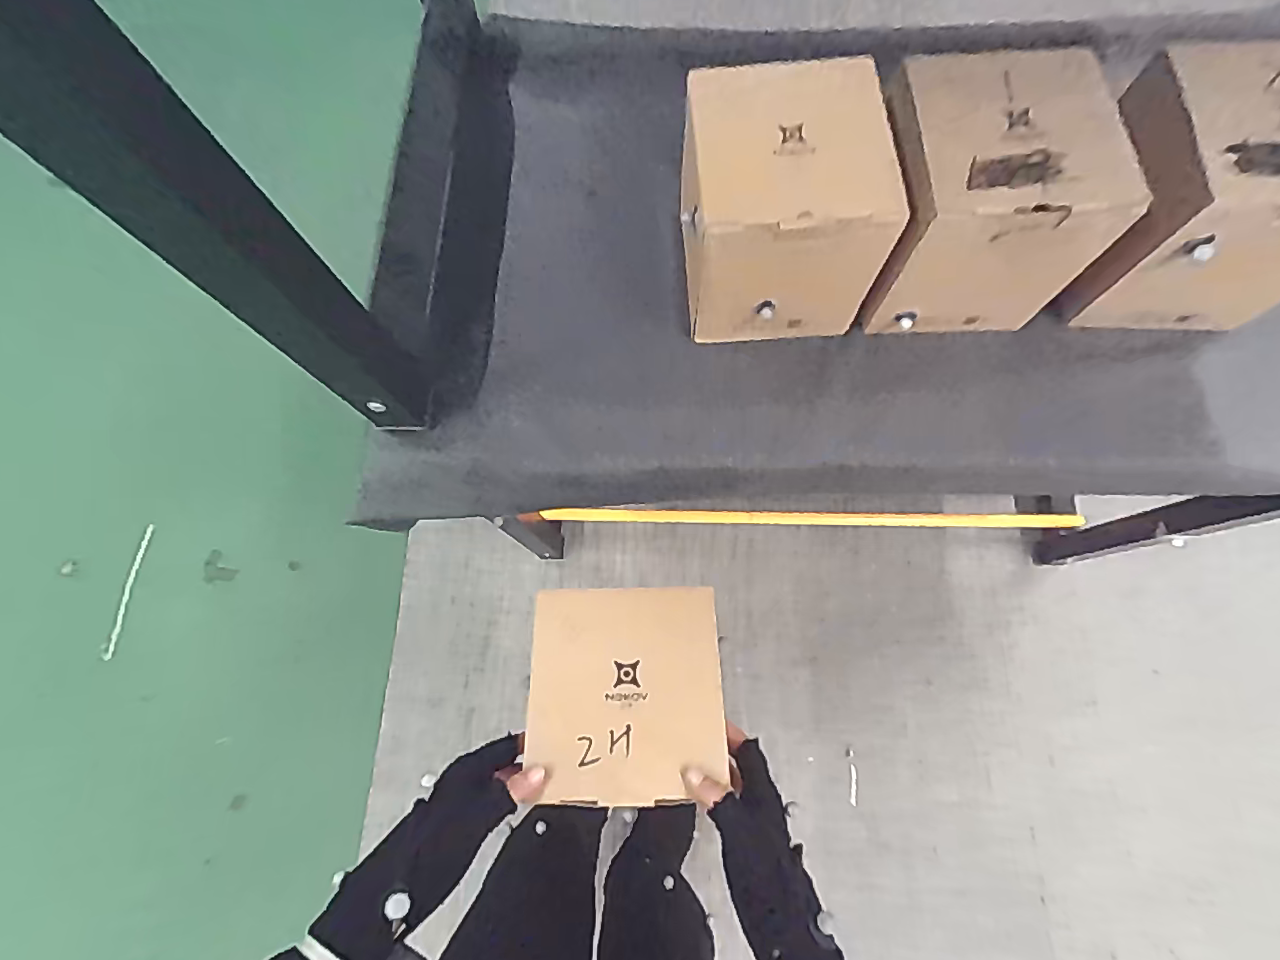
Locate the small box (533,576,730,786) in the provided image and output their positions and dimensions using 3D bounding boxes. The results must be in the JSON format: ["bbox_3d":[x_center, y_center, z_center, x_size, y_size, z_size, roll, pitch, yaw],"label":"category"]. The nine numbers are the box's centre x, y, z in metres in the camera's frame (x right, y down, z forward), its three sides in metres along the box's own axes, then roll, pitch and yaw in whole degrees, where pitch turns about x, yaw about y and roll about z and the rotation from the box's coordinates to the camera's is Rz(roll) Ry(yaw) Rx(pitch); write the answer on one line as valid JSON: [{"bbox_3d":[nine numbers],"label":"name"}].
[{"bbox_3d":[-0.006,0.211,0.554,0.168,0.176,0.179,-2,60,1],"label":"small box"}]
